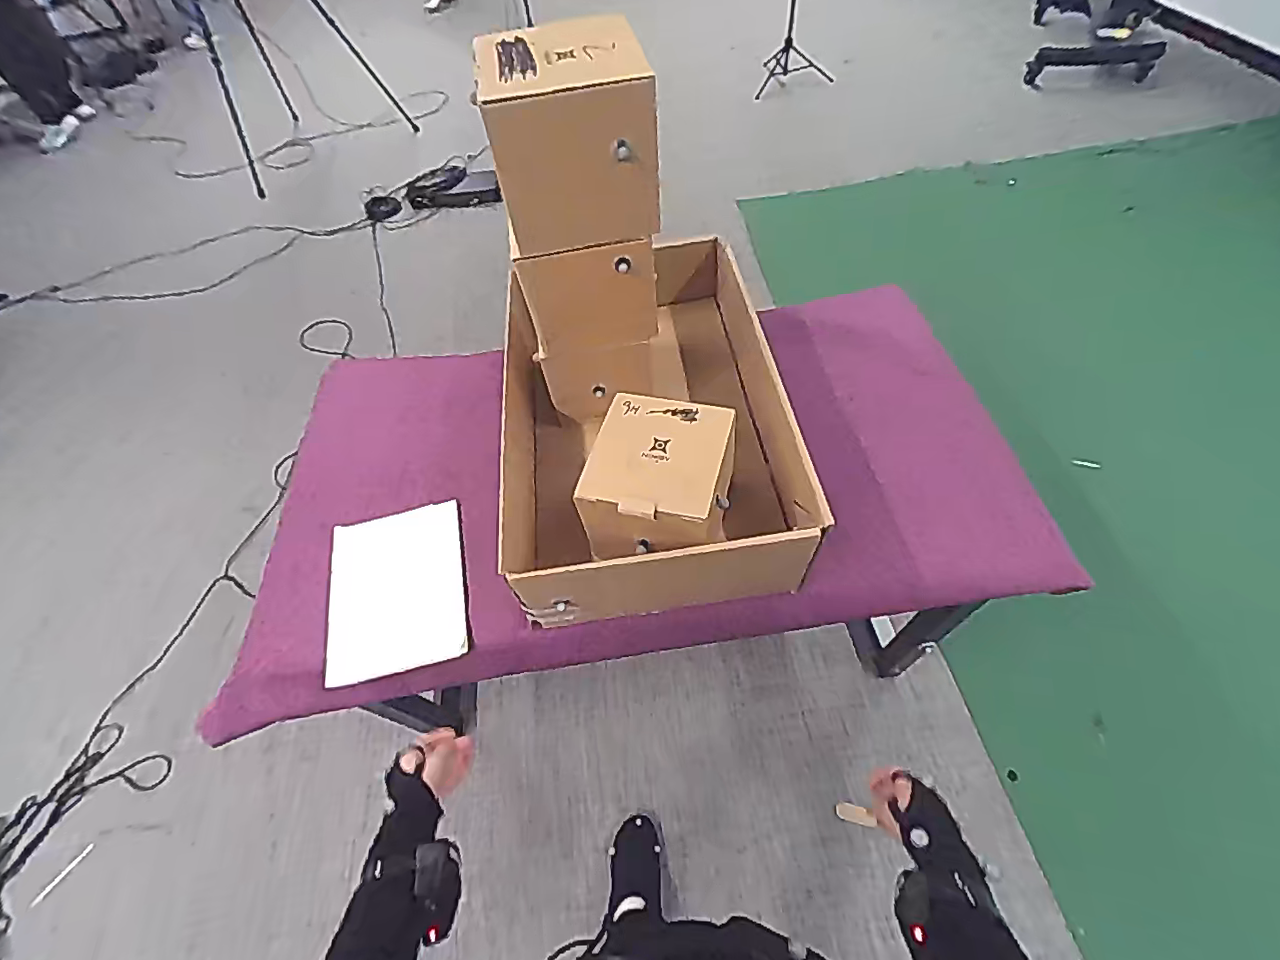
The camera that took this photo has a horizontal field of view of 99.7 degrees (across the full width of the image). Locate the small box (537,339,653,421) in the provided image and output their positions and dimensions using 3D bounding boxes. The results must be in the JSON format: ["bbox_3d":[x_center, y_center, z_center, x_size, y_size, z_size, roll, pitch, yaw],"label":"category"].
[{"bbox_3d":[-0.072,-0.214,0.903,0.168,0.176,0.179,-8,57,0],"label":"small box"}]

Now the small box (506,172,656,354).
[{"bbox_3d":[-0.079,-0.300,0.767,0.179,0.176,0.168,-10,57,-1],"label":"small box"}]
